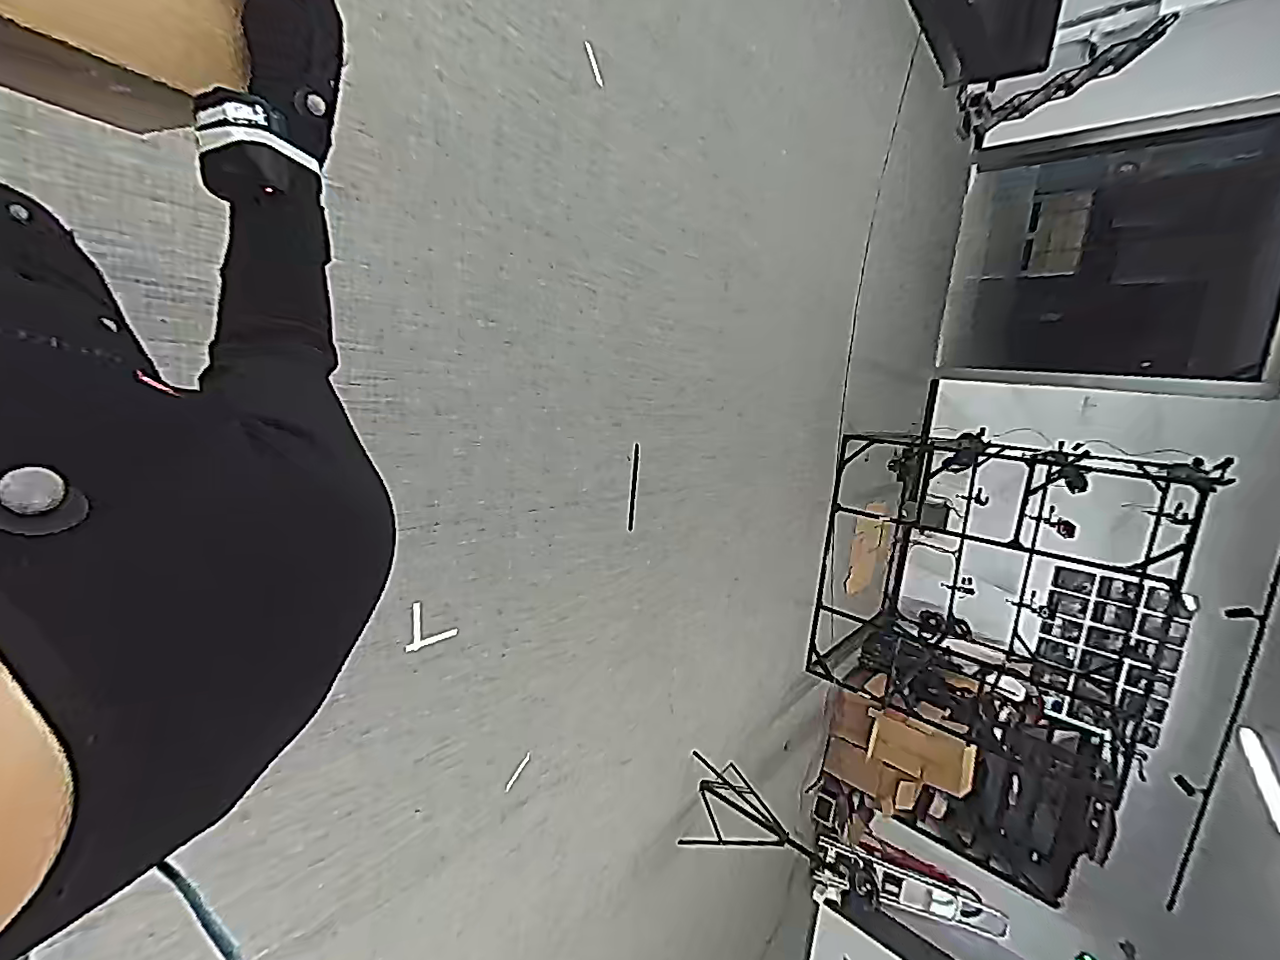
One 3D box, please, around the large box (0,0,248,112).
[{"bbox_3d":[-0.515,-0.481,0.315,0.408,0.320,0.320,-5,114,-55],"label":"large box"}]
